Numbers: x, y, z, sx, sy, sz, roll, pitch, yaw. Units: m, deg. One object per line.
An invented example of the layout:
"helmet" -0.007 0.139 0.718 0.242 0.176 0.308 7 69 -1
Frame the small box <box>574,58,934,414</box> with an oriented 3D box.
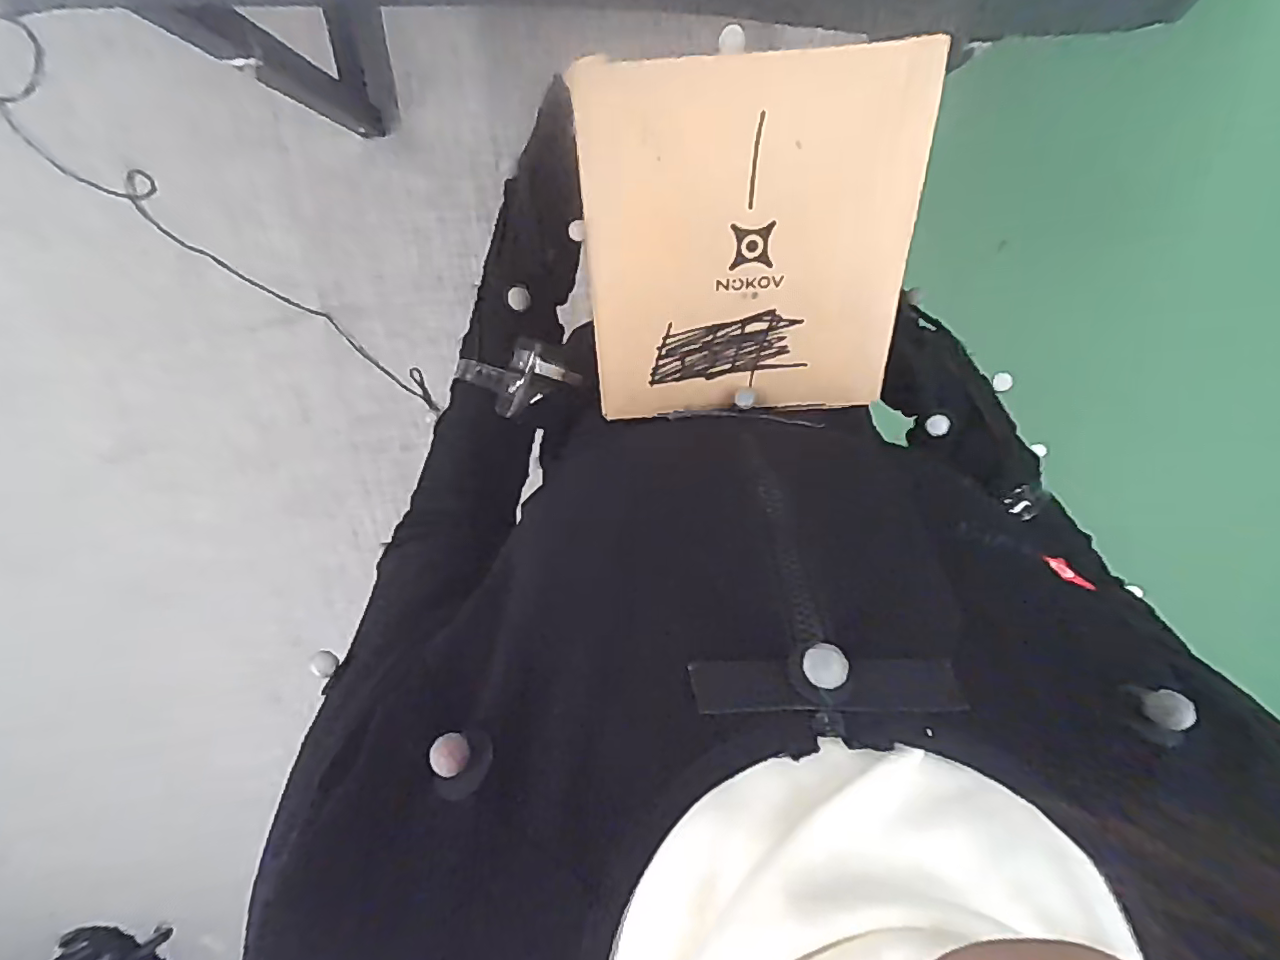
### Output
"small box" 0.053 -0.161 0.355 0.168 0.176 0.179 -3 125 0
